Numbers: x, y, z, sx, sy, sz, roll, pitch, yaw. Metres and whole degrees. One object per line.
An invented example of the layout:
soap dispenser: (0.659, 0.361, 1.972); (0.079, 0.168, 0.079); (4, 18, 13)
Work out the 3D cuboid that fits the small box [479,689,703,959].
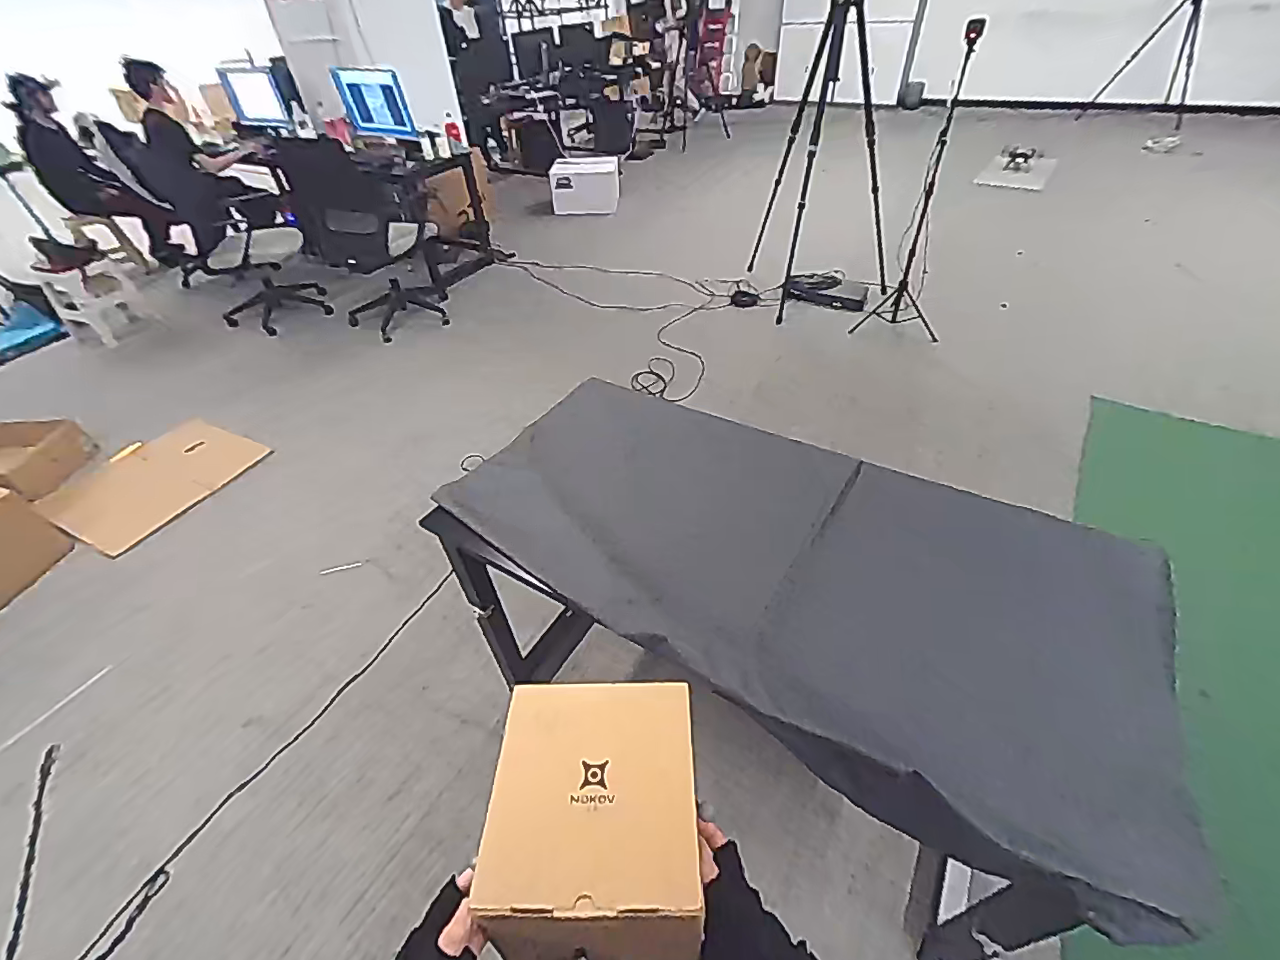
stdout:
small box: (-0.033, 0.318, 0.501); (0.168, 0.176, 0.179); (-1, 39, 2)
